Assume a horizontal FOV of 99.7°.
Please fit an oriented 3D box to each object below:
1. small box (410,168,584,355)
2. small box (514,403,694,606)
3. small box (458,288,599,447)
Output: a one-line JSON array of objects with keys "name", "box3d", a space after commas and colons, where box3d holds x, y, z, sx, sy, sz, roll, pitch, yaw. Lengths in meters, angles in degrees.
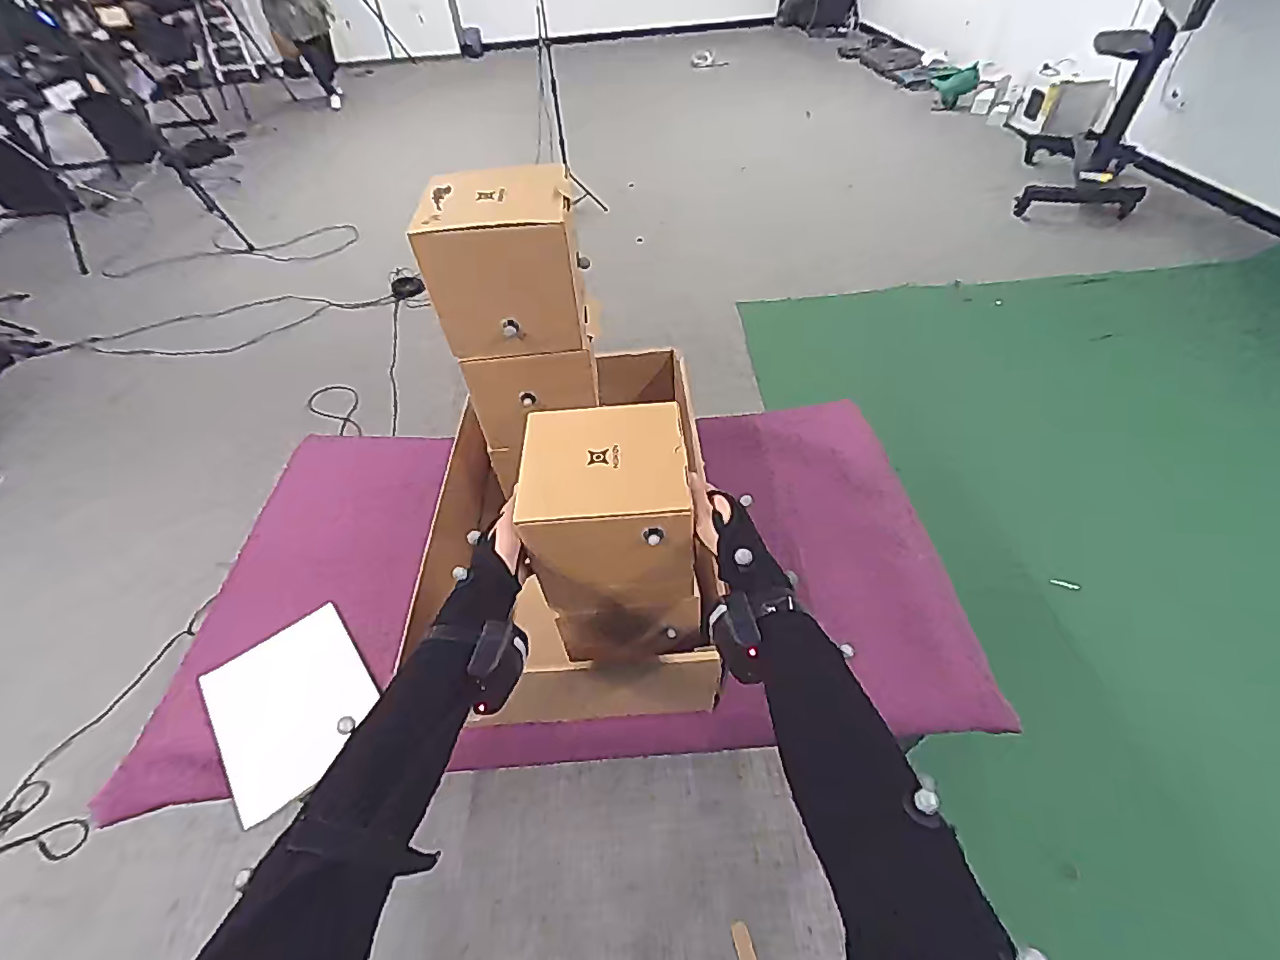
[{"name": "small box", "box3d": [-0.165, -0.279, 0.698, 0.179, 0.176, 0.168, -4, 48, -1]}, {"name": "small box", "box3d": [-0.033, 0.031, 0.623, 0.179, 0.176, 0.168, -3, 46, 0]}, {"name": "small box", "box3d": [-0.155, -0.168, 0.819, 0.179, 0.176, 0.168, -6, 49, -2]}]
